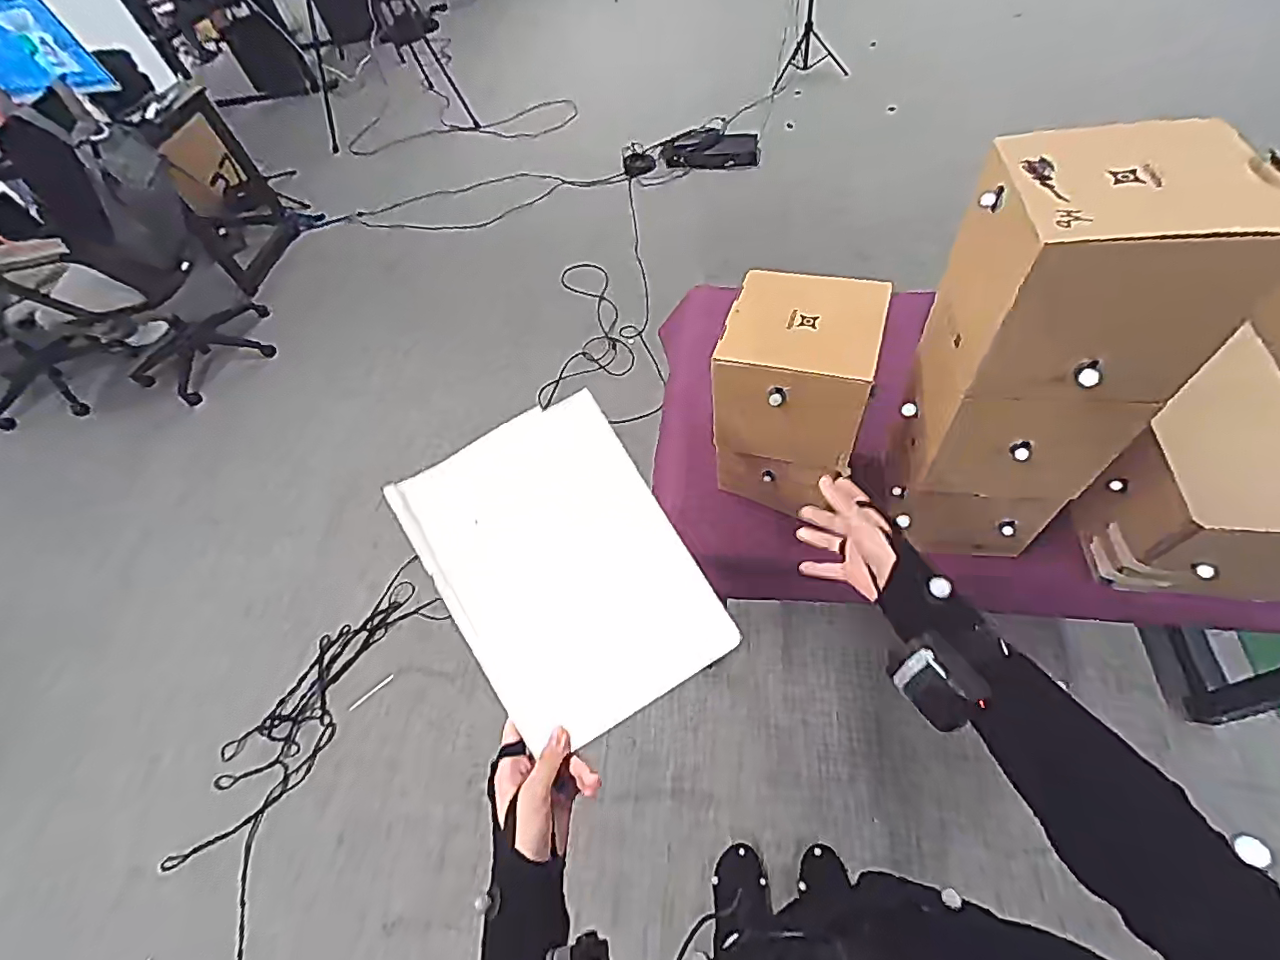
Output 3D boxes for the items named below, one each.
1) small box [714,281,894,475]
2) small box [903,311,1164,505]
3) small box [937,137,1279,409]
[{"bbox_3d":[0.205,-0.127,0.693,0.179,0.176,0.168,13,59,19],"label":"small box"},{"bbox_3d":[0.422,-0.084,0.621,0.179,0.176,0.168,3,55,12],"label":"small box"},{"bbox_3d":[0.399,-0.179,0.489,0.179,0.176,0.168,3,54,11],"label":"small box"}]
